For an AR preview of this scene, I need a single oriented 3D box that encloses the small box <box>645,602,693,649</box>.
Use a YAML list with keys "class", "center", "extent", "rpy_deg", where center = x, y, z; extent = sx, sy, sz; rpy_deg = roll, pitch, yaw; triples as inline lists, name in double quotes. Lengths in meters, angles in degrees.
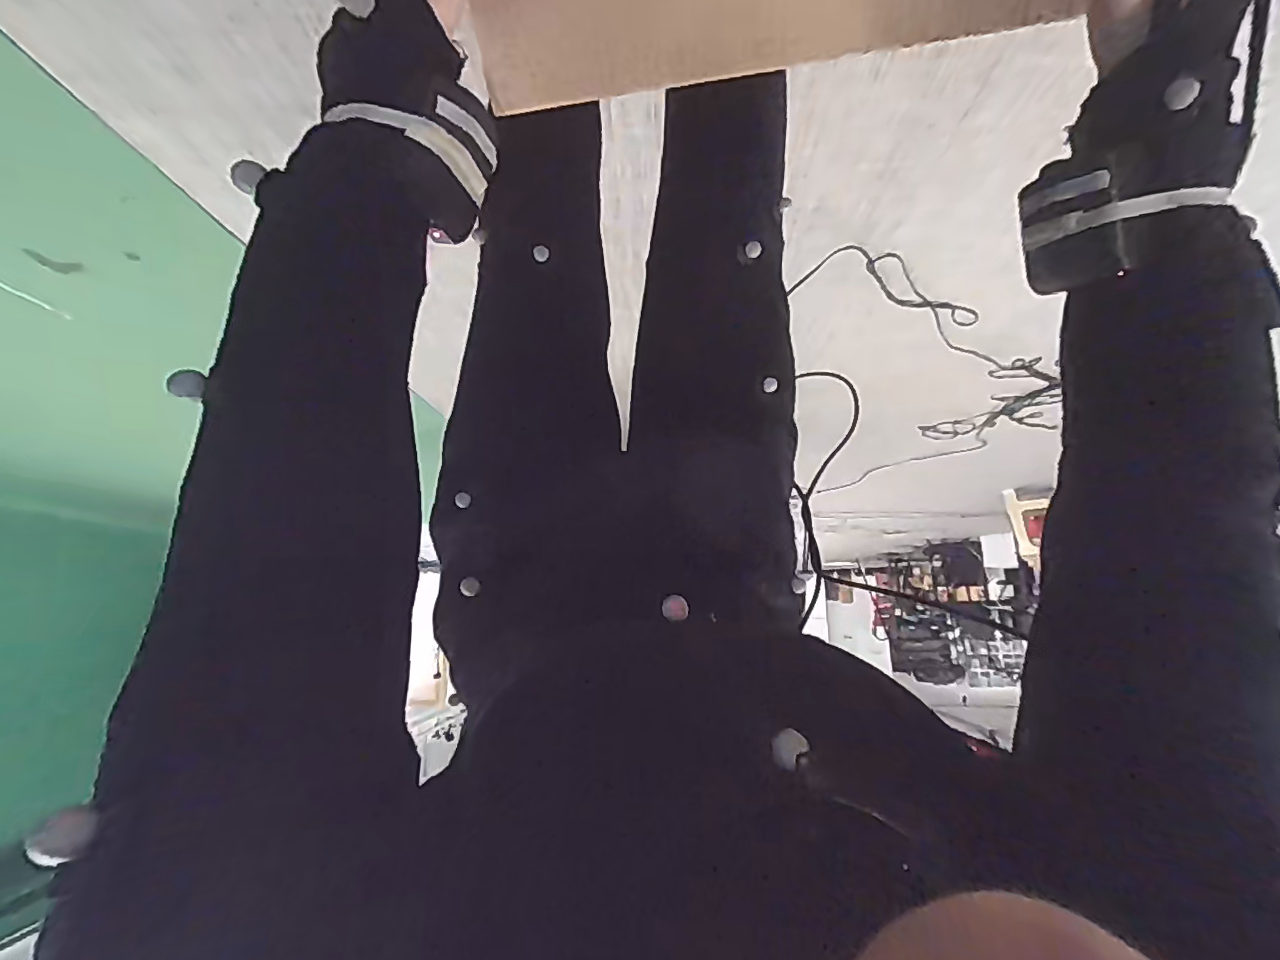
- class: "small box"
  center: [0.117, 0.563, 2.103]
  extent: [0.168, 0.176, 0.179]
  rpy_deg: [-4, 166, 11]
